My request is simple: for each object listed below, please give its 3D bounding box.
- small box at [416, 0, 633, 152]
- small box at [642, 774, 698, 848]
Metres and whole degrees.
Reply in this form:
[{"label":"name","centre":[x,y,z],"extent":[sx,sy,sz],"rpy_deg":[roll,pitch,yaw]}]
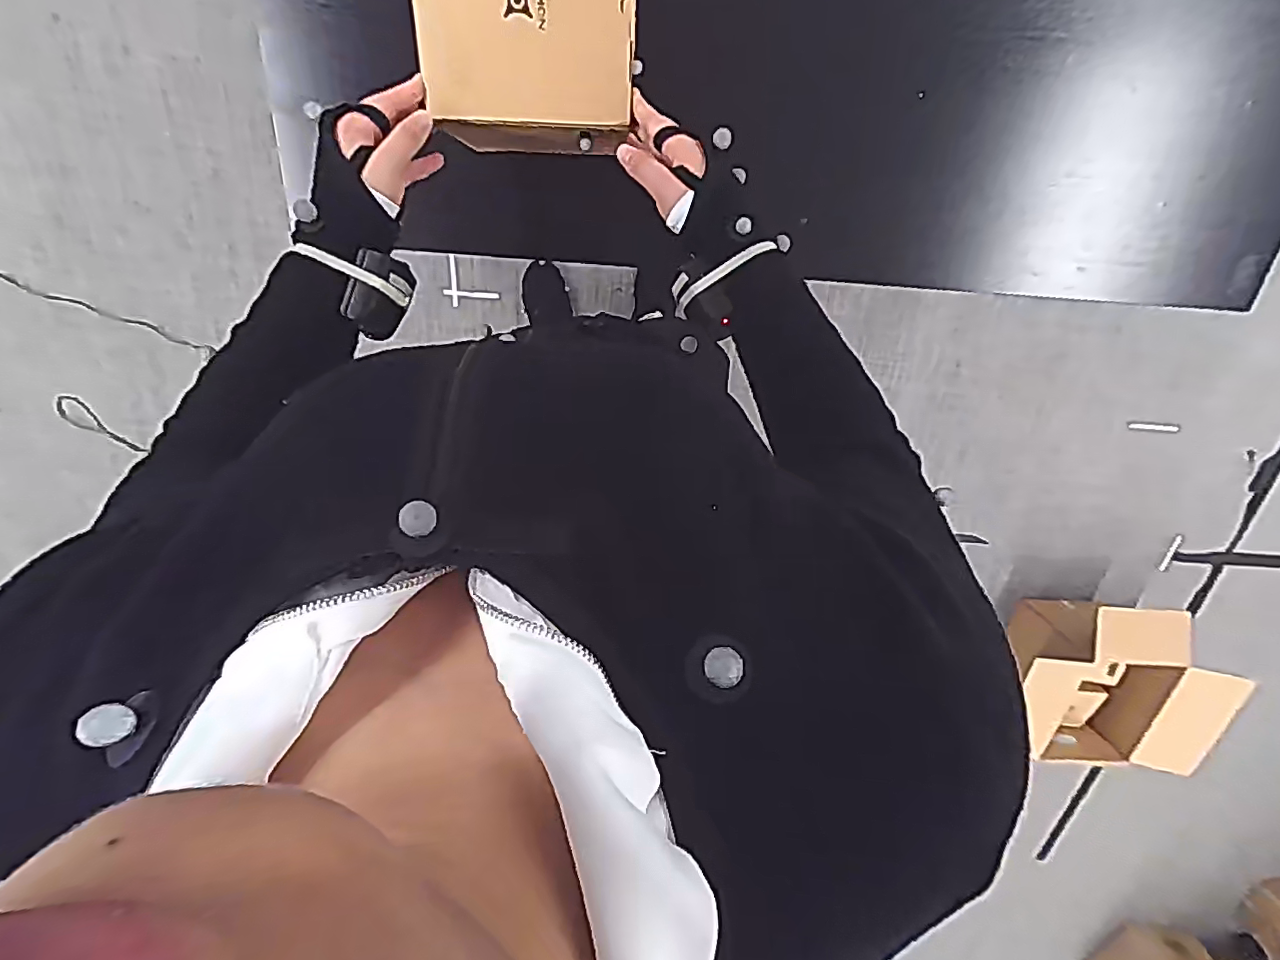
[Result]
[{"label":"small box","centre":[-0.096,-0.416,0.506],"extent":[0.179,0.176,0.168],"rpy_deg":[0,114,-4]},{"label":"small box","centre":[0.105,1.224,2.005],"extent":[0.179,0.176,0.168],"rpy_deg":[8,111,-5]}]
